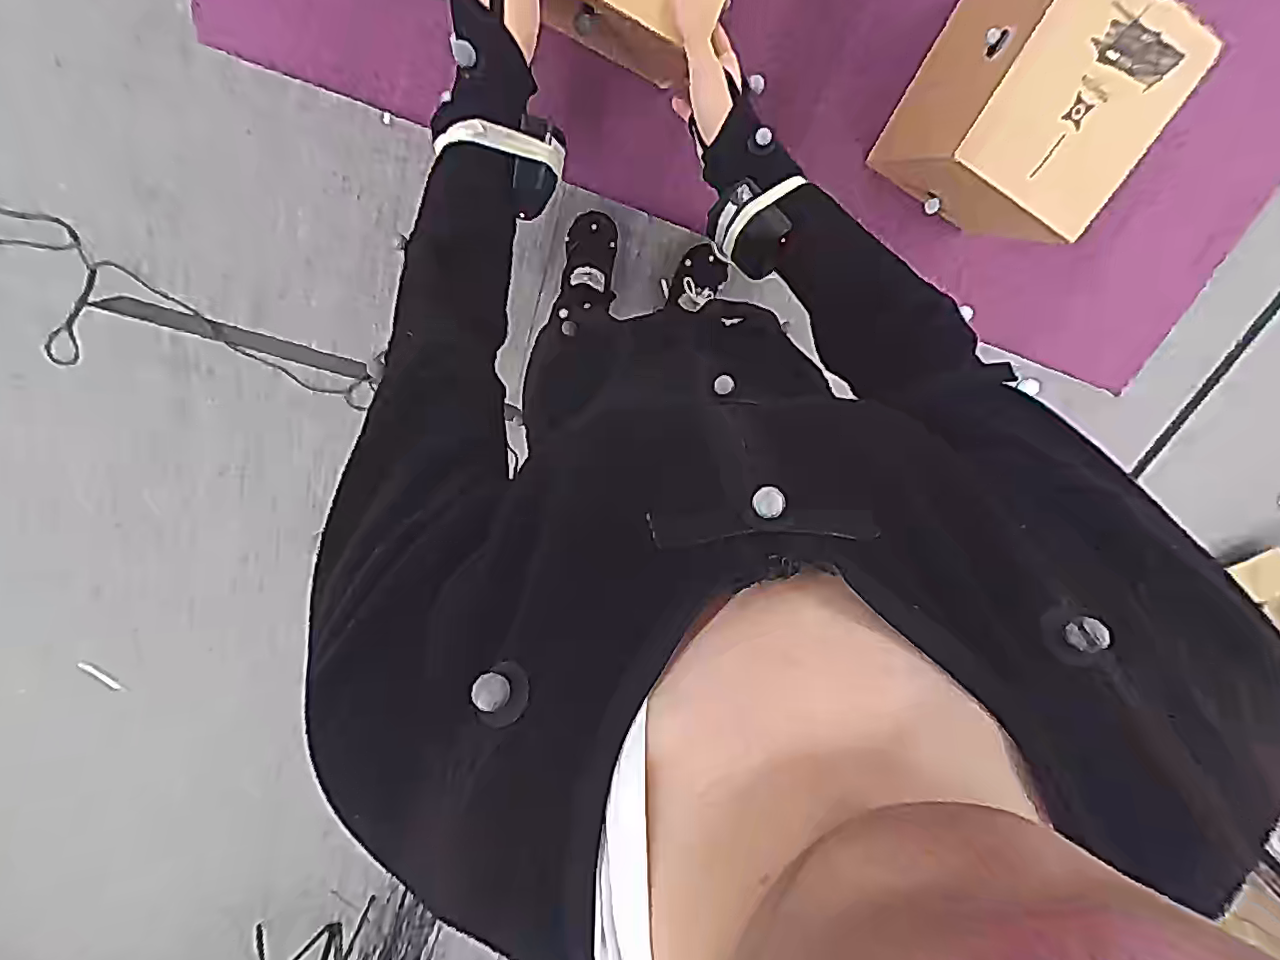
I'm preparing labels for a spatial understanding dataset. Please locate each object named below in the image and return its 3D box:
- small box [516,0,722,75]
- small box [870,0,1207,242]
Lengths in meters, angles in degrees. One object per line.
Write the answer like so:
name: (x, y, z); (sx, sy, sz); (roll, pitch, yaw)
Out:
small box: (-0.010, -0.465, 0.440); (0.179, 0.176, 0.168); (18, 116, -16)
small box: (0.372, -0.370, 0.543); (0.168, 0.176, 0.179); (22, 115, -18)
